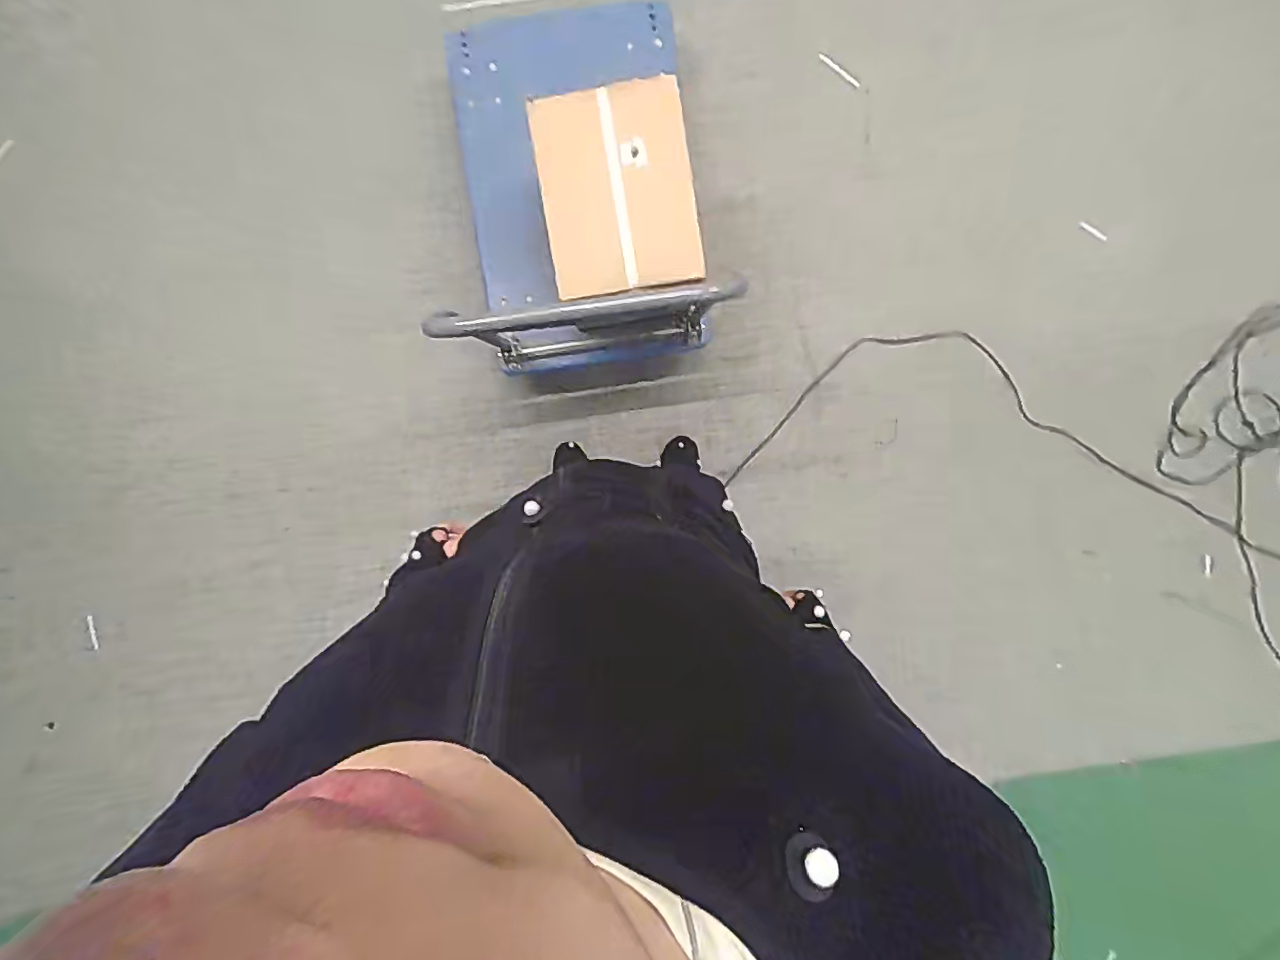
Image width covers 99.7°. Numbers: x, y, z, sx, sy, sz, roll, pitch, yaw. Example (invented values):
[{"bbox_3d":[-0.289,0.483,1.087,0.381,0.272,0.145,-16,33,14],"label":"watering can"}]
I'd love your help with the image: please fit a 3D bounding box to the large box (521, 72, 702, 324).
[{"bbox_3d":[-0.055,-0.612,1.250,0.320,0.320,0.408,-9,95,0],"label":"large box"}]
